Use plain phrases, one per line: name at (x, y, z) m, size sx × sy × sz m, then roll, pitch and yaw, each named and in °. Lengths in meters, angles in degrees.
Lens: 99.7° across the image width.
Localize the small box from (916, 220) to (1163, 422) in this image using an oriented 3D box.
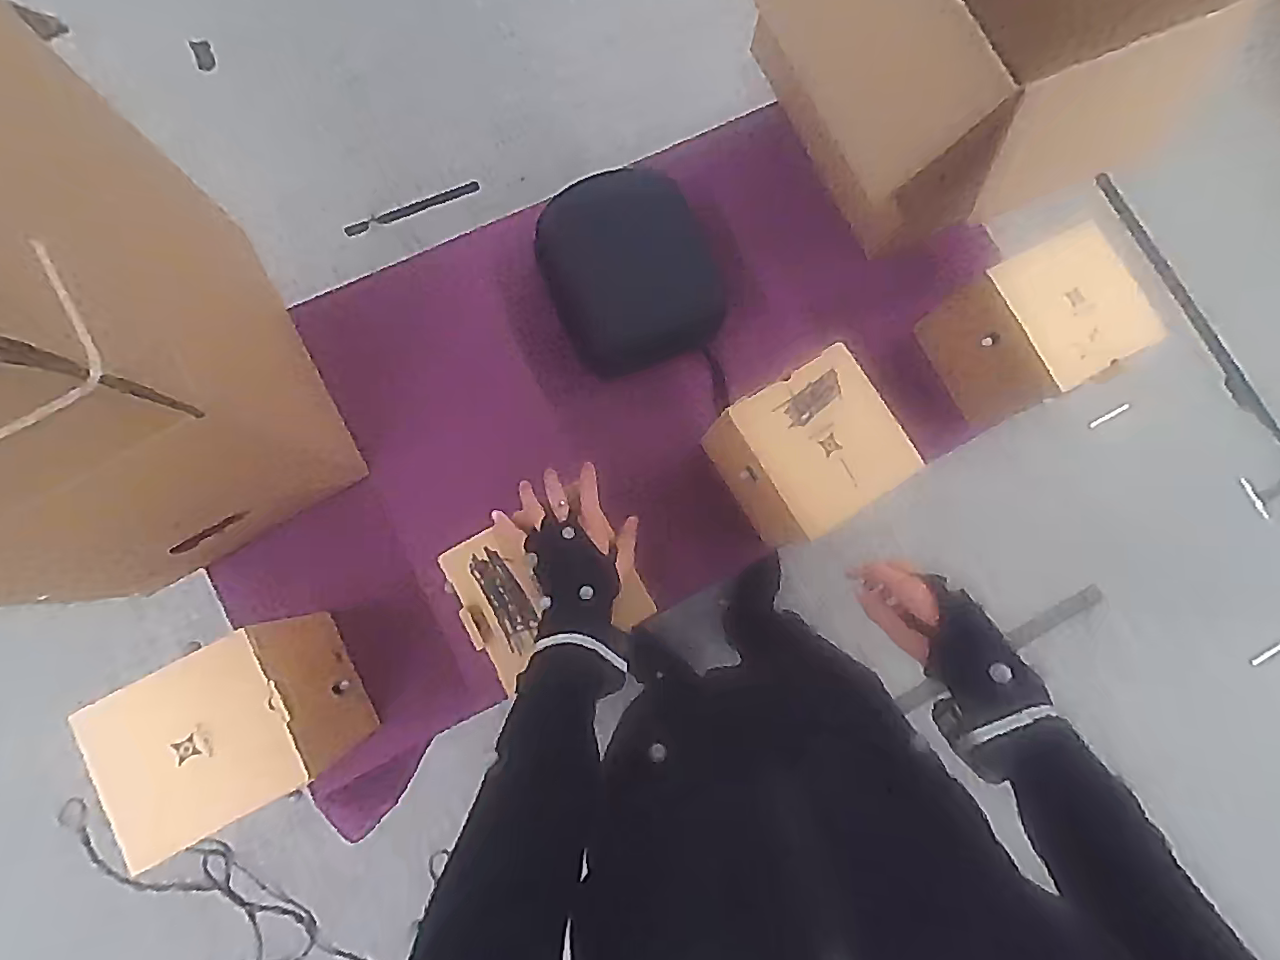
small box at (0.518, -0.203, 0.733) m, size 0.168 × 0.176 × 0.179 m, roll -27°, pitch 84°, yaw -6°

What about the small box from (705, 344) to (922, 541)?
small box at (0.203, -0.035, 0.688) m, size 0.168 × 0.176 × 0.179 m, roll -32°, pitch 85°, yaw -8°

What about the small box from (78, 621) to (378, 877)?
small box at (-0.431, 0.273, 0.598) m, size 0.179 × 0.176 × 0.168 m, roll -28°, pitch 84°, yaw -9°
